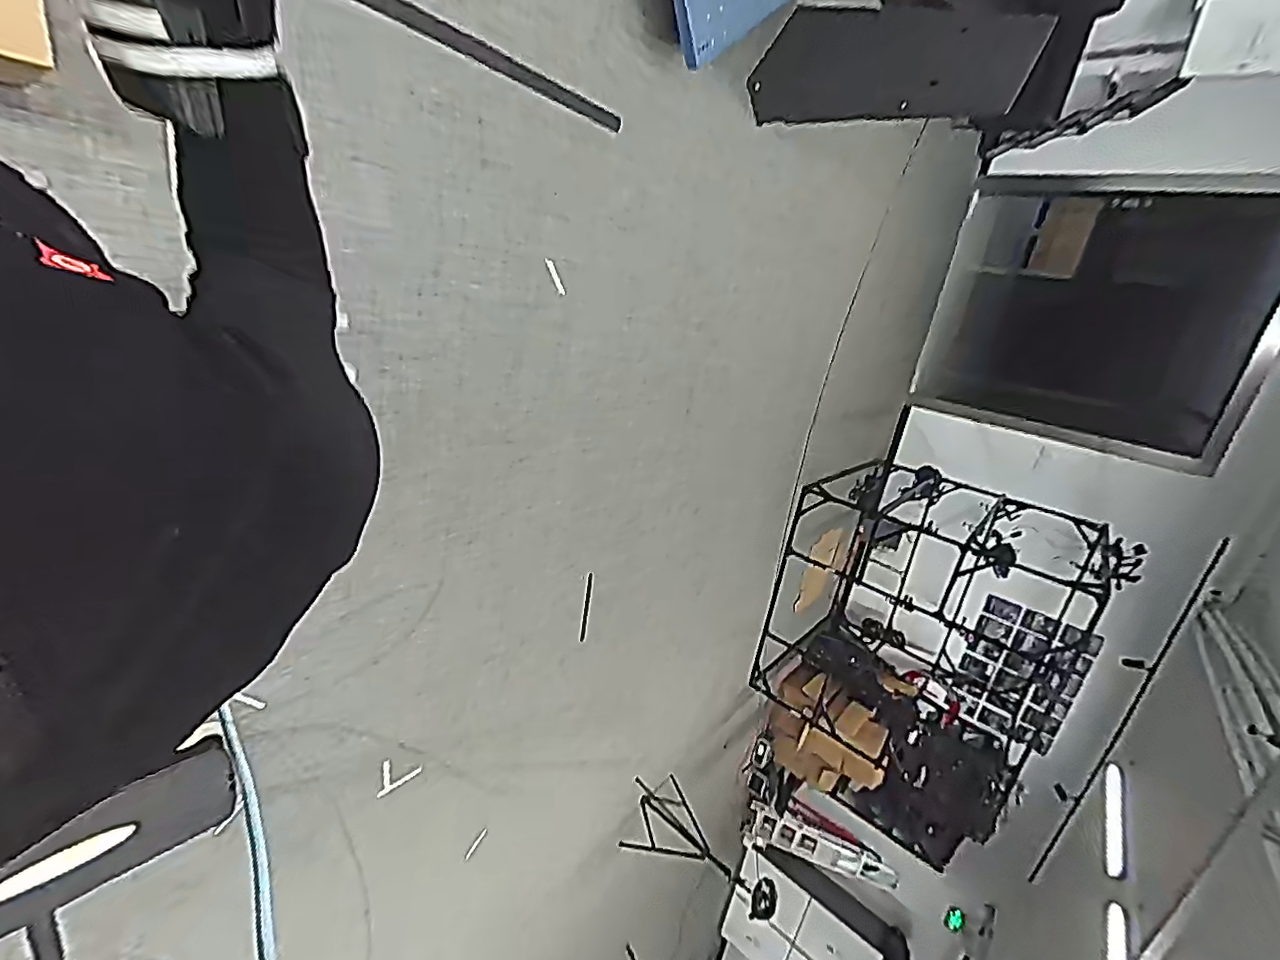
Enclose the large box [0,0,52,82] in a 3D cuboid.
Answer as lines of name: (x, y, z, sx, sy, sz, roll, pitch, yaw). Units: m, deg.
large box: (-1.022, -0.715, 0.617, 0.408, 0.320, 0.320, -17, 123, -50)
